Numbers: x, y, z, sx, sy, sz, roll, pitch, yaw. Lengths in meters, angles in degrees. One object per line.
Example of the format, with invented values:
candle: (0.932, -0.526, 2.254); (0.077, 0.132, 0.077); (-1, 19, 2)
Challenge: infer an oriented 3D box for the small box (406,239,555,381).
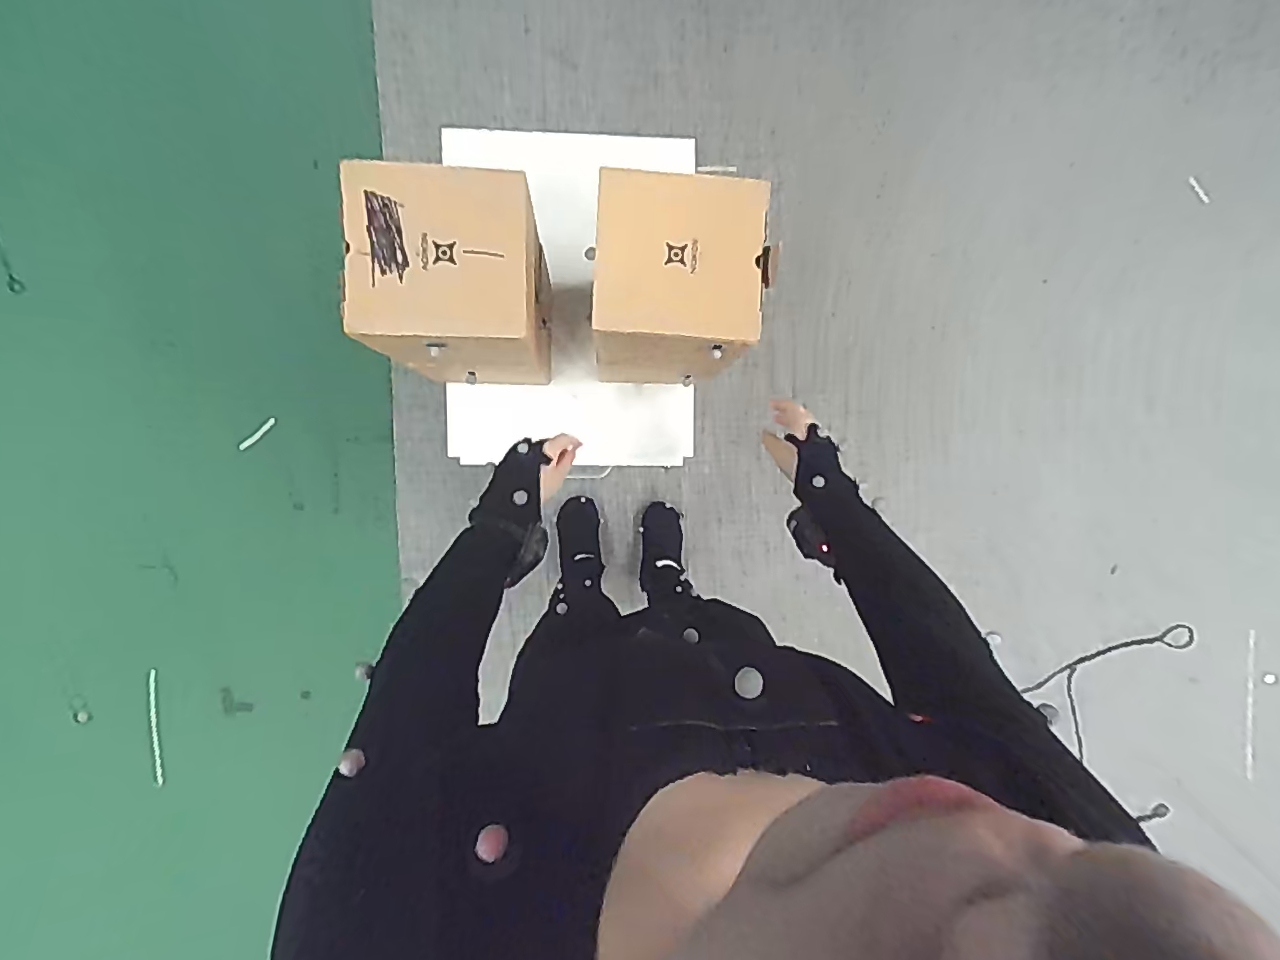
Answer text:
small box: (-0.216, -0.234, 0.767); (0.179, 0.176, 0.168); (0, 94, -6)

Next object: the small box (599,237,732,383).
small box: (0.029, -0.237, 0.788); (0.179, 0.176, 0.168); (0, 92, -2)

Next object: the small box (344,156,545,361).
small box: (-0.202, -0.229, 0.602); (0.179, 0.176, 0.168); (0, 93, -6)
